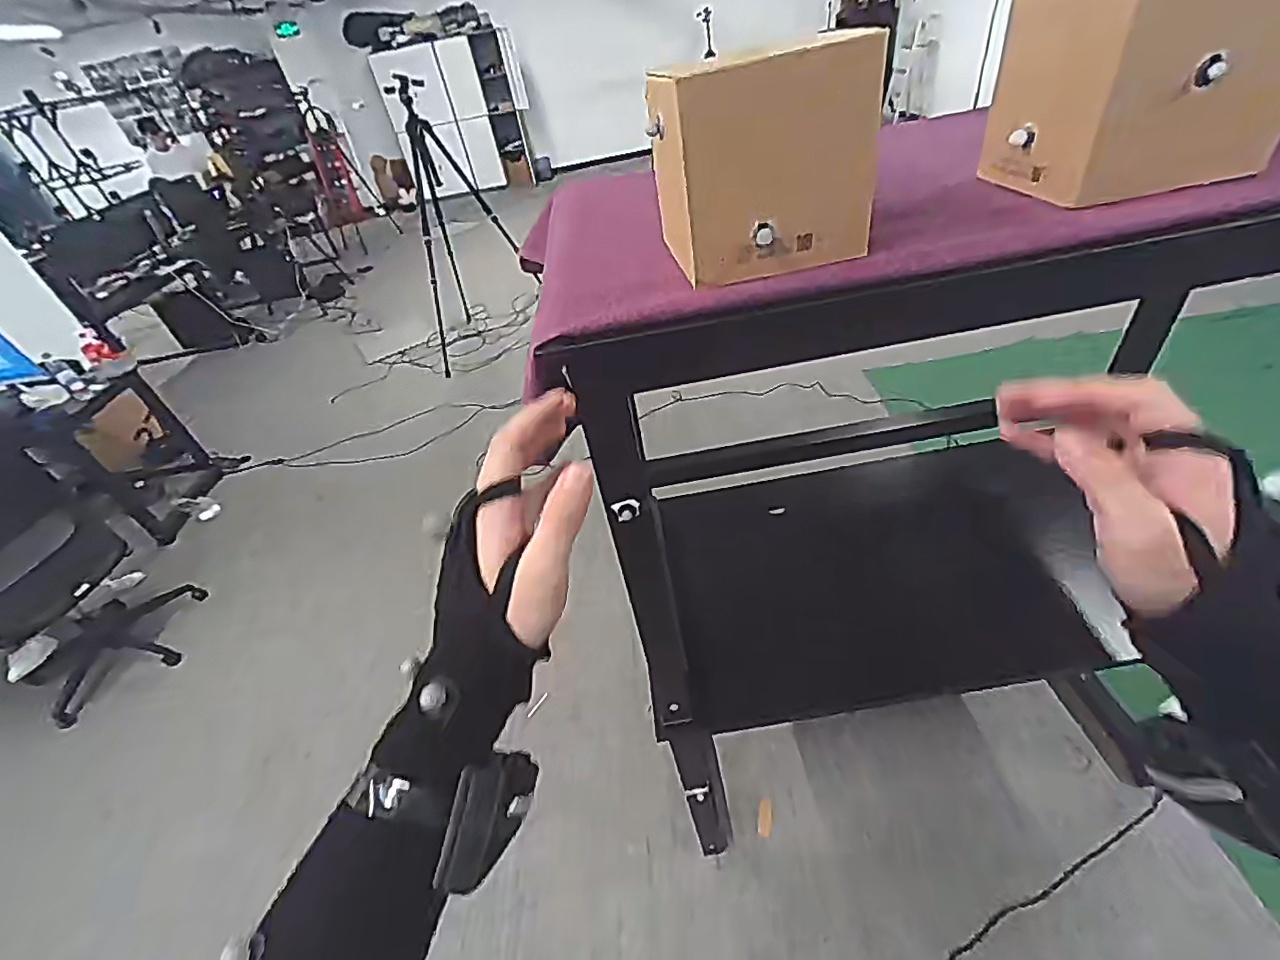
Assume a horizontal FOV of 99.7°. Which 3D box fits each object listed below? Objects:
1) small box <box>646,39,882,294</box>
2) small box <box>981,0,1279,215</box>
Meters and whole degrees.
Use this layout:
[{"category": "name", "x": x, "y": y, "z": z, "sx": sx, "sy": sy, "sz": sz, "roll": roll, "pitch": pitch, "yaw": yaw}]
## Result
[{"category": "small box", "x": 0.106, "y": -0.297, "z": 0.519, "sx": 0.168, "sy": 0.176, "sz": 0.179, "roll": -12, "pitch": 38, "yaw": 1}, {"category": "small box", "x": 0.467, "y": -0.373, "z": 0.515, "sx": 0.179, "sy": 0.176, "sz": 0.168, "roll": -11, "pitch": 38, "yaw": 4}]
